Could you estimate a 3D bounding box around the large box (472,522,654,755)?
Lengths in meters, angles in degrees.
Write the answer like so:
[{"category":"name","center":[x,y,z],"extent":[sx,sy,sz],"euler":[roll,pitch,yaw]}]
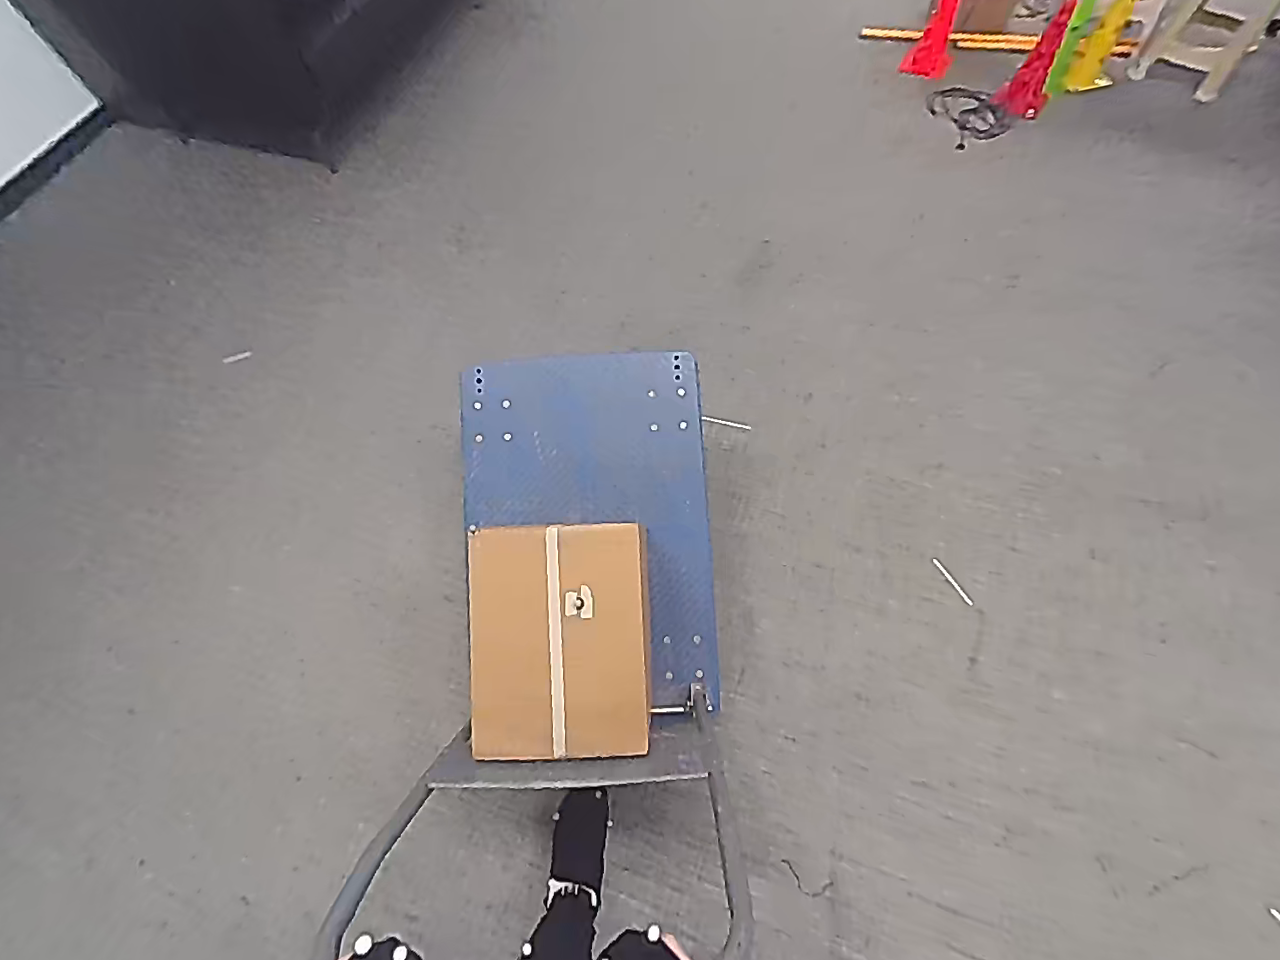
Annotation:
[{"category":"large box","center":[-0.140,0.301,1.129],"extent":[0.320,0.320,0.408],"euler":[-3,84,1]}]
